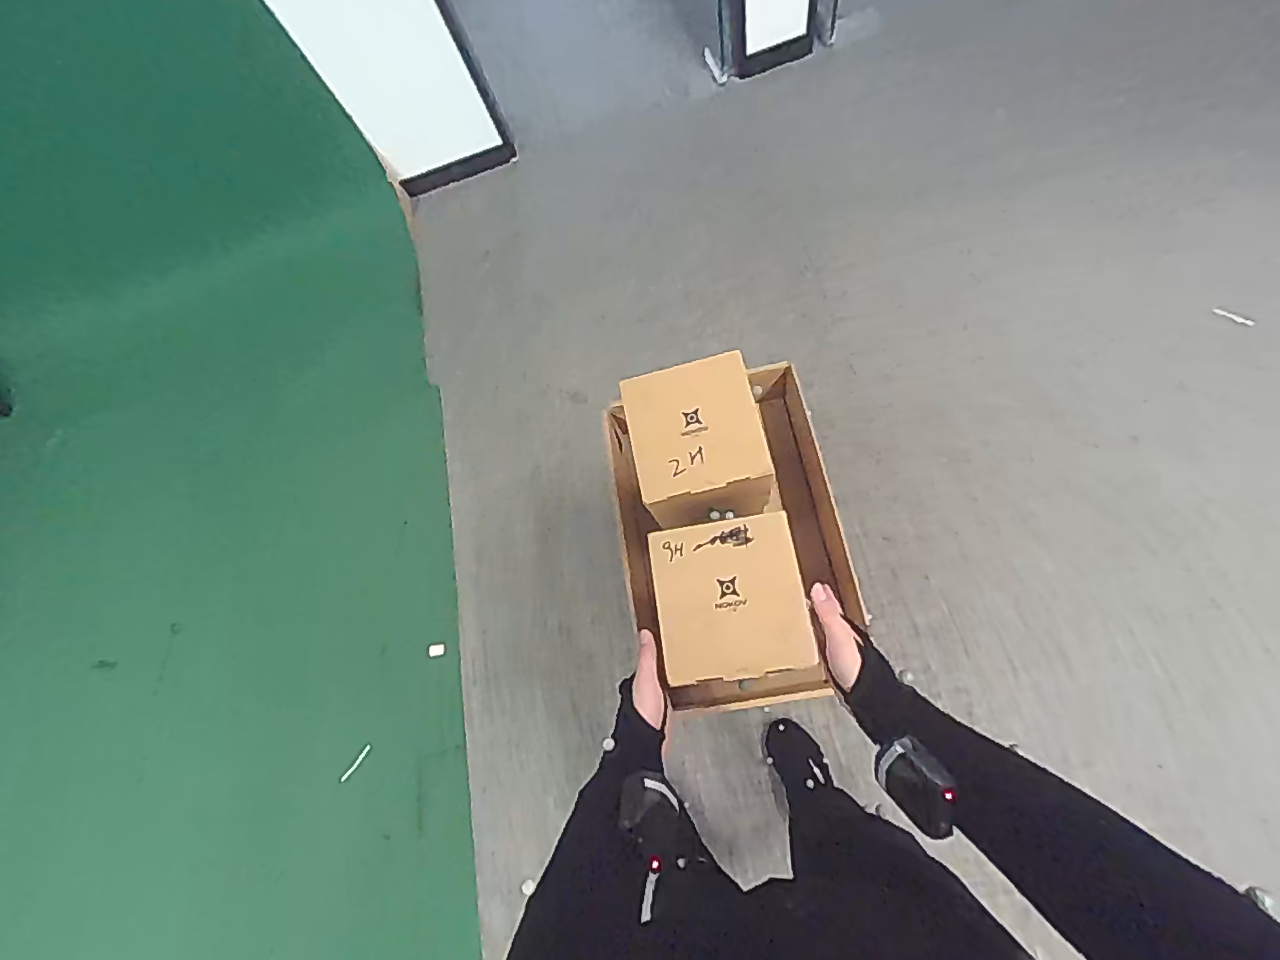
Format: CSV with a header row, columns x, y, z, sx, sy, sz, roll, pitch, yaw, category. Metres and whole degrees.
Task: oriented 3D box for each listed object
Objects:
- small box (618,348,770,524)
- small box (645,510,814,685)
x,y,z,sx,sy,sz,roll,pitch,yaw,category
0.078,-0.051,0.758,0.168,0.176,0.179,-14,72,8,small box
0.111,0.151,0.680,0.168,0.176,0.179,-11,71,7,small box
